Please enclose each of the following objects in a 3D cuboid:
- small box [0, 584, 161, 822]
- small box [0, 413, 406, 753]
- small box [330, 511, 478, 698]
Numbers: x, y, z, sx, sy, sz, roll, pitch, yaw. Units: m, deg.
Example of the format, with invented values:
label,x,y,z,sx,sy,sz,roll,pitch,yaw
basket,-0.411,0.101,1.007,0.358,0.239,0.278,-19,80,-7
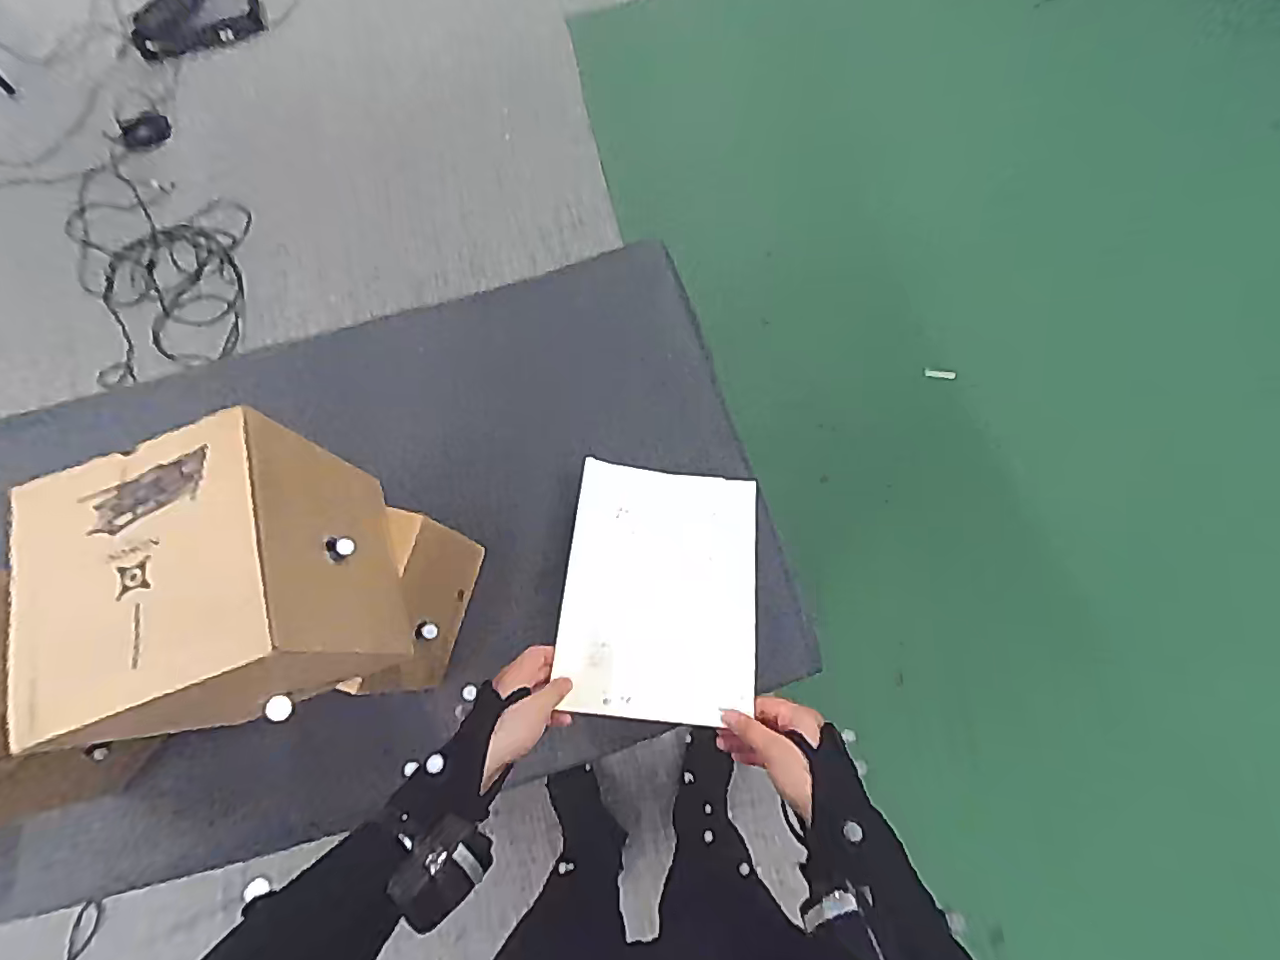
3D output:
label,x,y,z,sx,sy,sz,roll,pitch,yaw
small box,-0.626,0.226,0.570,0.179,0.176,0.168,32,77,14
small box,-0.309,0.081,0.415,0.168,0.176,0.179,-21,71,-1
small box,-0.300,0.119,0.576,0.179,0.176,0.168,12,73,10
